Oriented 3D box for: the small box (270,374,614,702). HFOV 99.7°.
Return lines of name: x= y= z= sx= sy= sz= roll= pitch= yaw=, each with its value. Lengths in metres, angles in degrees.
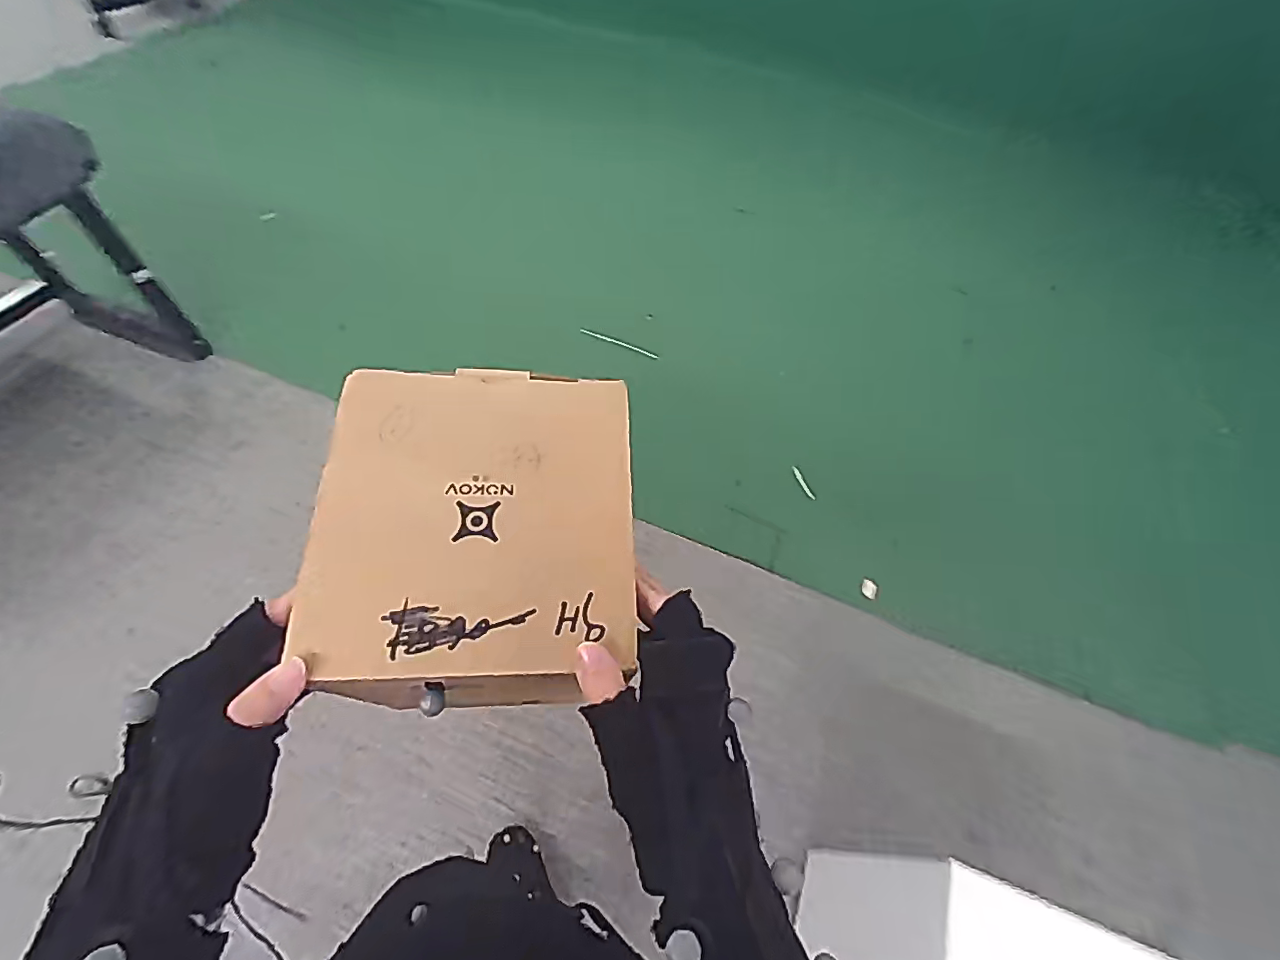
small box: x=-0.106 y=0.050 z=0.372 sx=0.168 sy=0.176 sz=0.179 roll=1 pitch=64 yaw=-6
